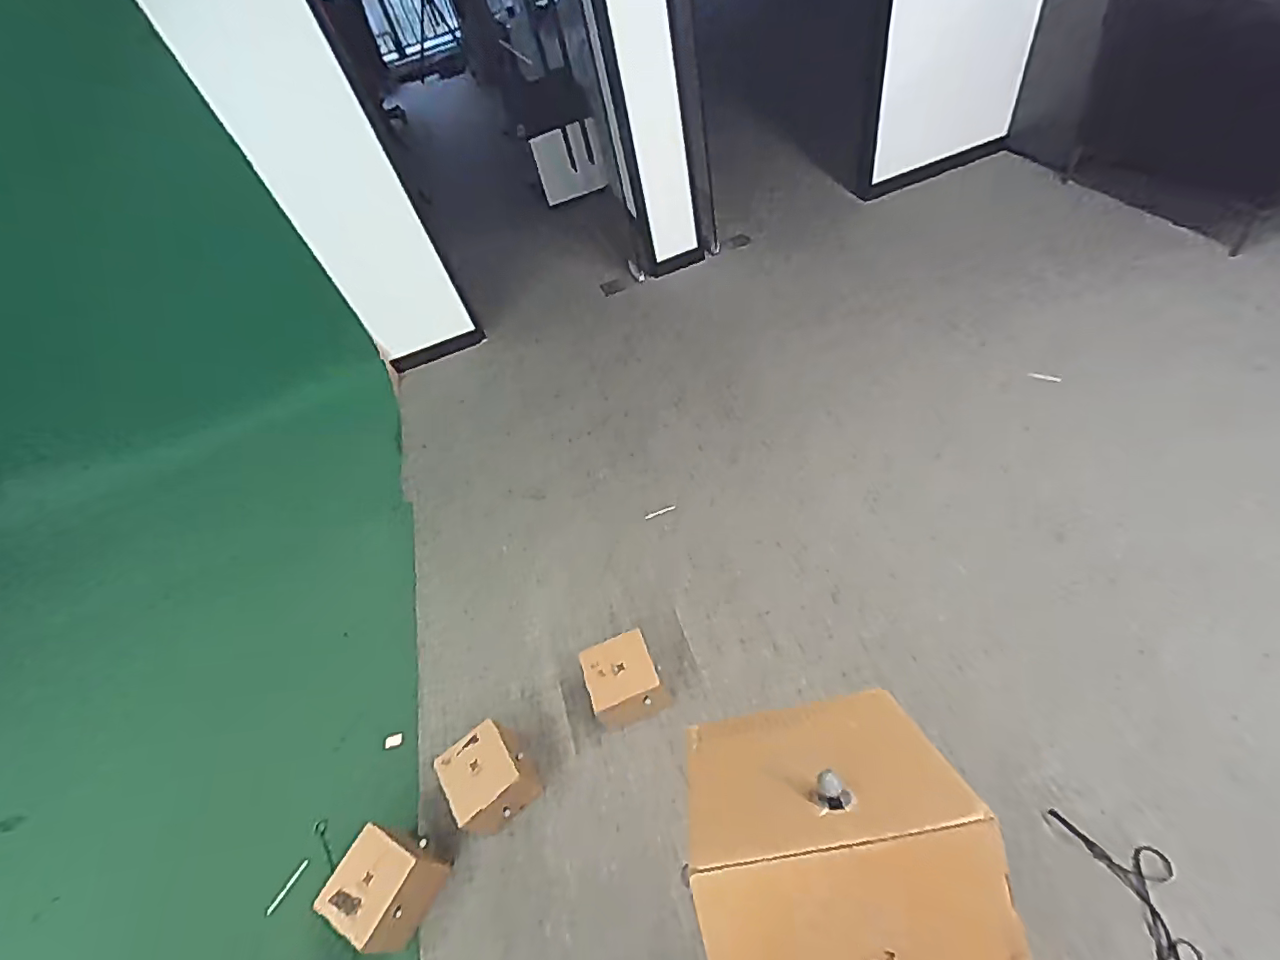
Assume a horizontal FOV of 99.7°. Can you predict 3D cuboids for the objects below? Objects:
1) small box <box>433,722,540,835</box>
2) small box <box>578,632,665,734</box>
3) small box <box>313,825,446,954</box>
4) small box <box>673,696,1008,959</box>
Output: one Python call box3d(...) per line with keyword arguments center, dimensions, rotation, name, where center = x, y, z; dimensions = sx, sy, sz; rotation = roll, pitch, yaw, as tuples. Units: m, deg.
box3d(center=(-0.373, 0.741, 1.333), dimensions=(0.168, 0.176, 0.179), rotation=(-35, 51, -14), name="small box")
box3d(center=(-0.043, 0.534, 1.417), dimensions=(0.179, 0.176, 0.168), rotation=(-22, 48, -4), name="small box")
box3d(center=(-0.581, 0.930, 1.230), dimensions=(0.168, 0.176, 0.179), rotation=(15, 55, 26), name="small box")
box3d(center=(0.126, 0.278, 0.387), dimensions=(0.179, 0.176, 0.168), rotation=(-12, 91, 4), name="small box")
